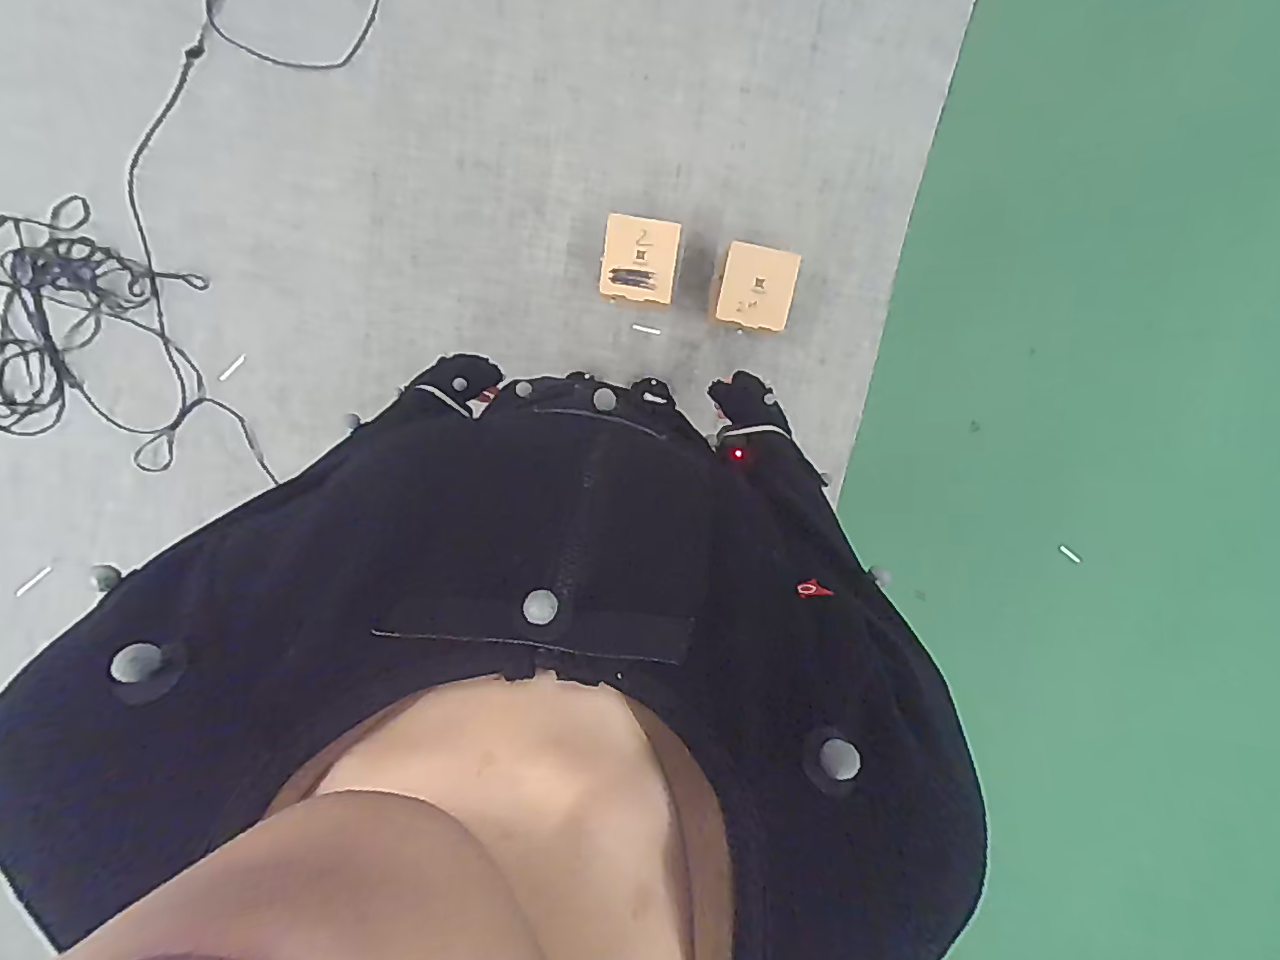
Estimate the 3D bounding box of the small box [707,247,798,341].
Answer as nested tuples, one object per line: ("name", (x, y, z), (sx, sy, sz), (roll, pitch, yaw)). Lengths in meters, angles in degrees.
("small box", (0.266, -0.447, 1.326), (0.168, 0.176, 0.179), (11, 102, -2))
